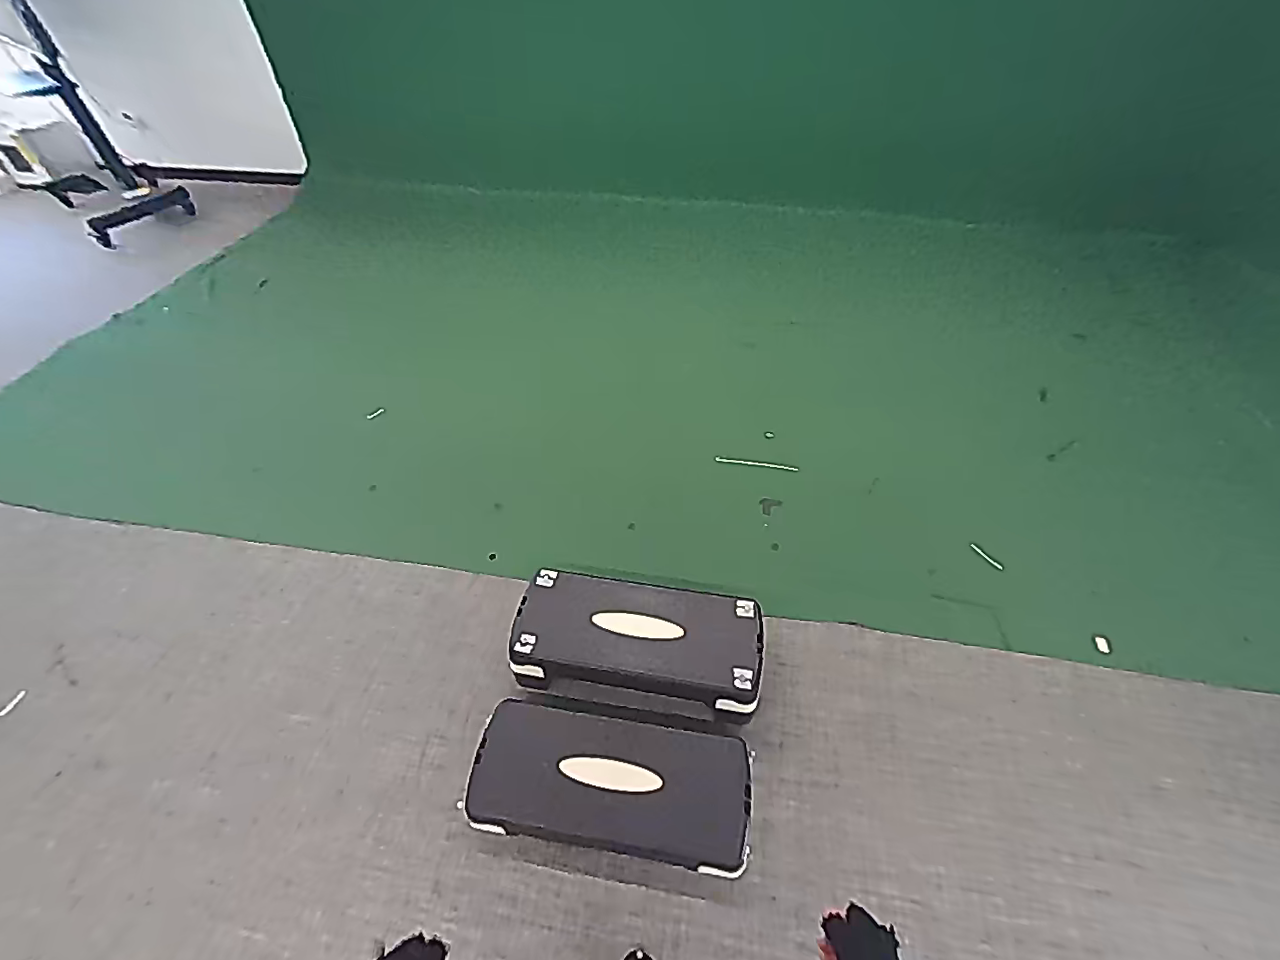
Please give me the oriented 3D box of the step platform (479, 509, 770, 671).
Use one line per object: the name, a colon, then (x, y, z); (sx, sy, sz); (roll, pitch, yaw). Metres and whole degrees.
step platform: (-0.033, 0.275, 1.363); (0.684, 0.204, 0.286); (6, 48, 7)
